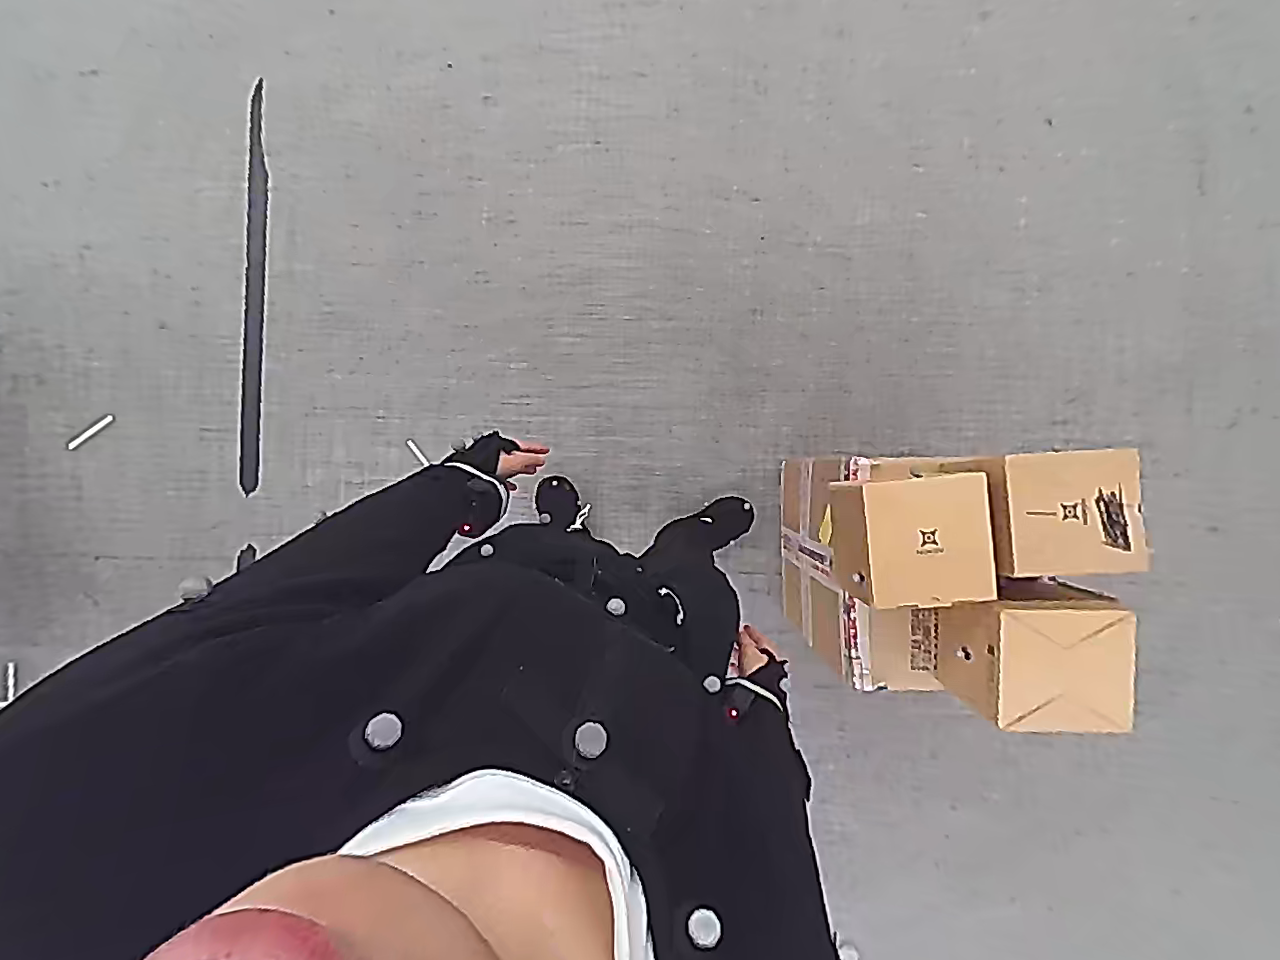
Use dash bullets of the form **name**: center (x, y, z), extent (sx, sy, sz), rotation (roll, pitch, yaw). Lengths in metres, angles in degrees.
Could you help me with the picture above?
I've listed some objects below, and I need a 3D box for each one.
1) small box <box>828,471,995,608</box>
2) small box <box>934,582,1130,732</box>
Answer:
- **small box**: center (0.392, 0.082, 0.809), extent (0.168, 0.176, 0.179), rotation (-6, 90, 4)
- **small box**: center (0.564, 0.252, 0.798), extent (0.179, 0.176, 0.168), rotation (-1, 94, 2)
